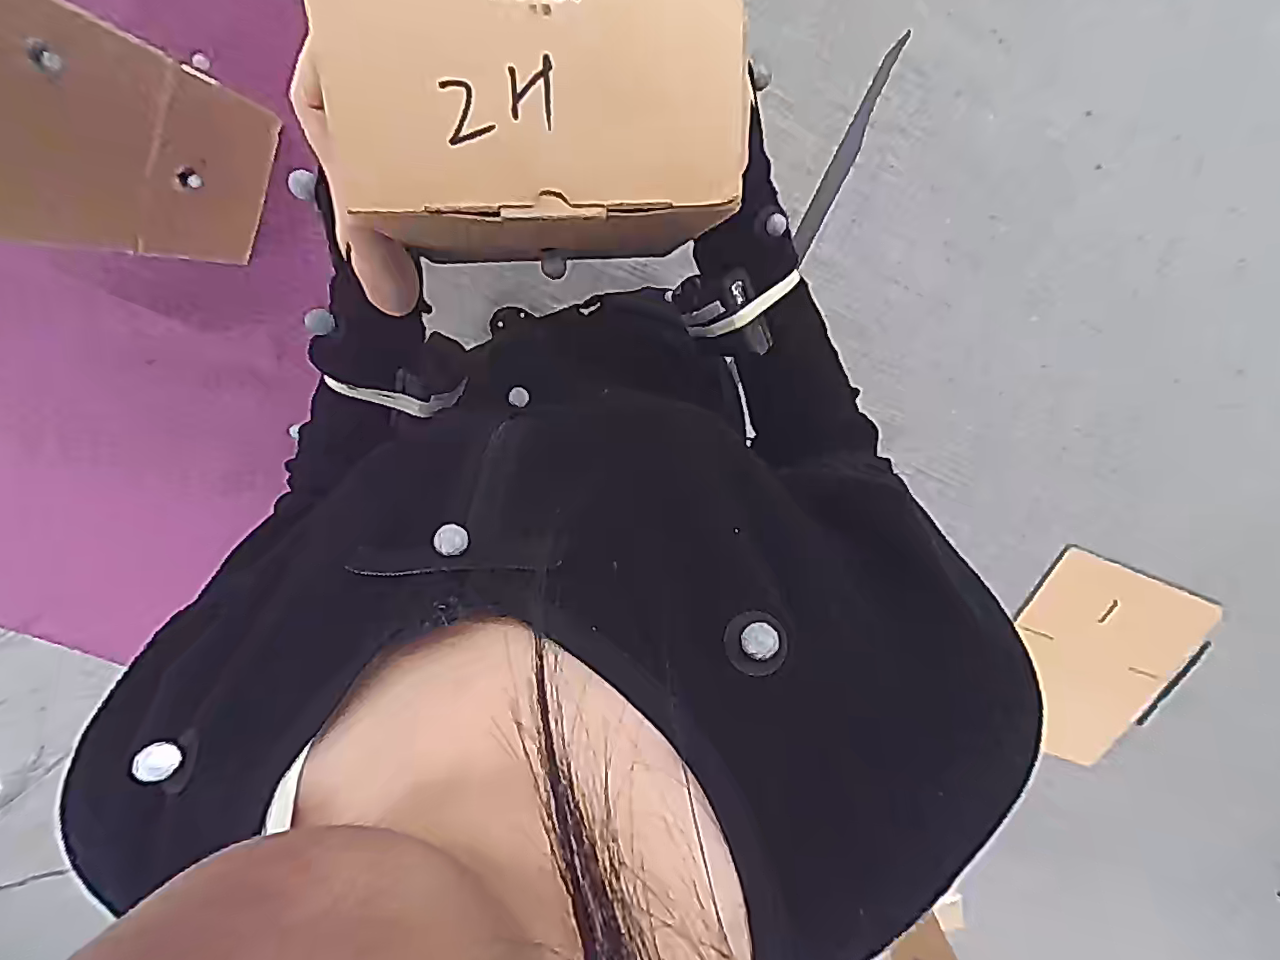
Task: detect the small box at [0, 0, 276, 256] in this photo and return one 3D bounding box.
[{"bbox_3d":[-0.514,-0.348,0.550,0.168,0.176,0.179,24,106,-10],"label":"small box"}]

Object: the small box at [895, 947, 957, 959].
[{"bbox_3d":[0.807,1.407,1.445,0.168,0.176,0.179,-17,109,4],"label":"small box"}]

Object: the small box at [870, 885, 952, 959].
[{"bbox_3d":[0.803,1.351,1.600,0.168,0.176,0.179,-17,108,4],"label":"small box"}]

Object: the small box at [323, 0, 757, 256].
[{"bbox_3d":[-0.047,-0.220,0.277,0.168,0.176,0.179,-4,106,-7],"label":"small box"}]
